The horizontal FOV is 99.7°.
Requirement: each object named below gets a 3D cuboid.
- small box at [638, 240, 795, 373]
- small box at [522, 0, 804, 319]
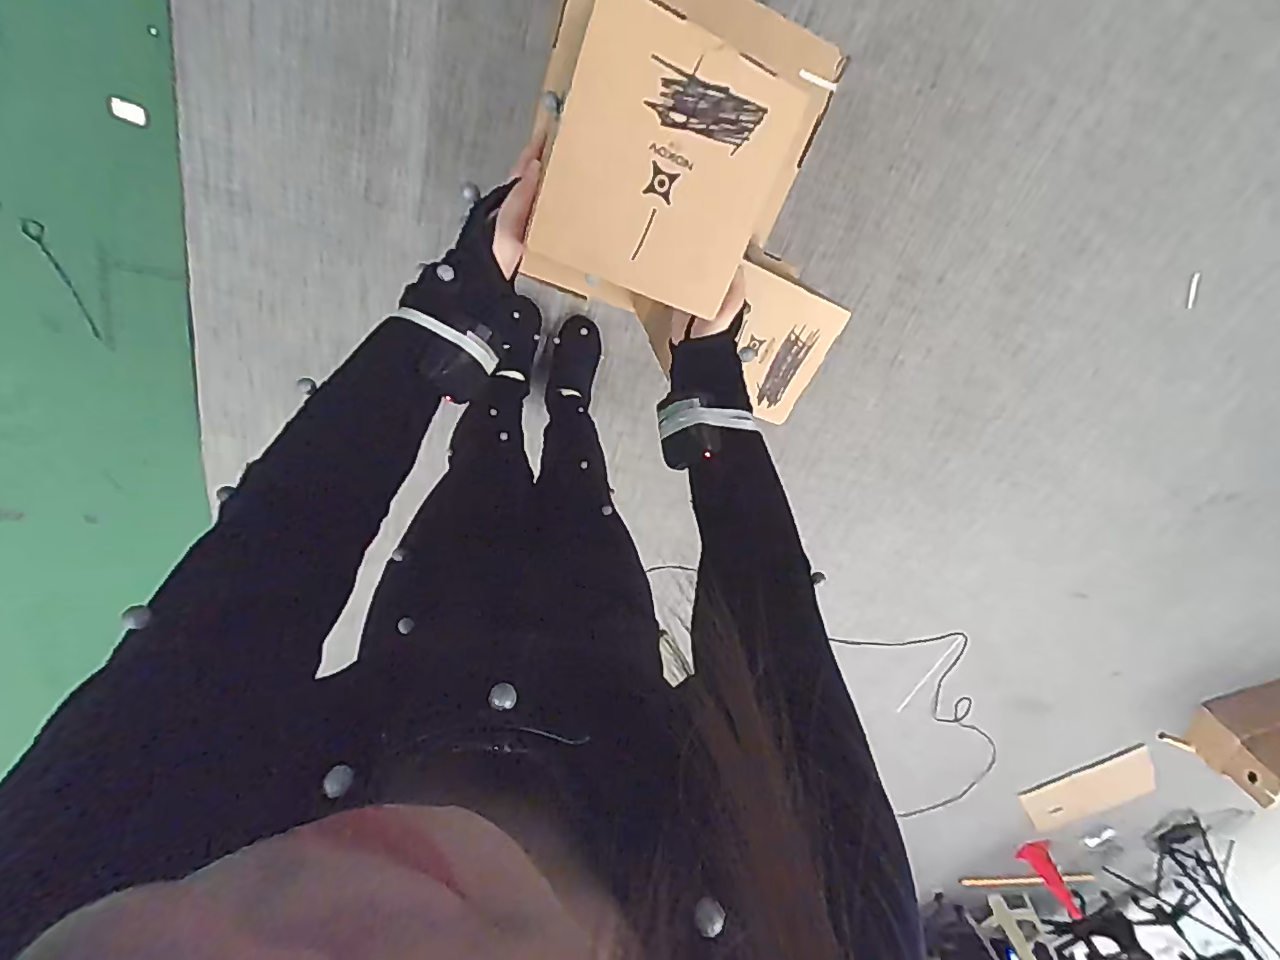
[{"bbox_3d":[0.107,-0.301,0.858,0.168,0.176,0.179,16,116,-19],"label":"small box"},{"bbox_3d":[0.000,-0.266,0.464,0.168,0.176,0.179,15,113,-21],"label":"small box"}]
